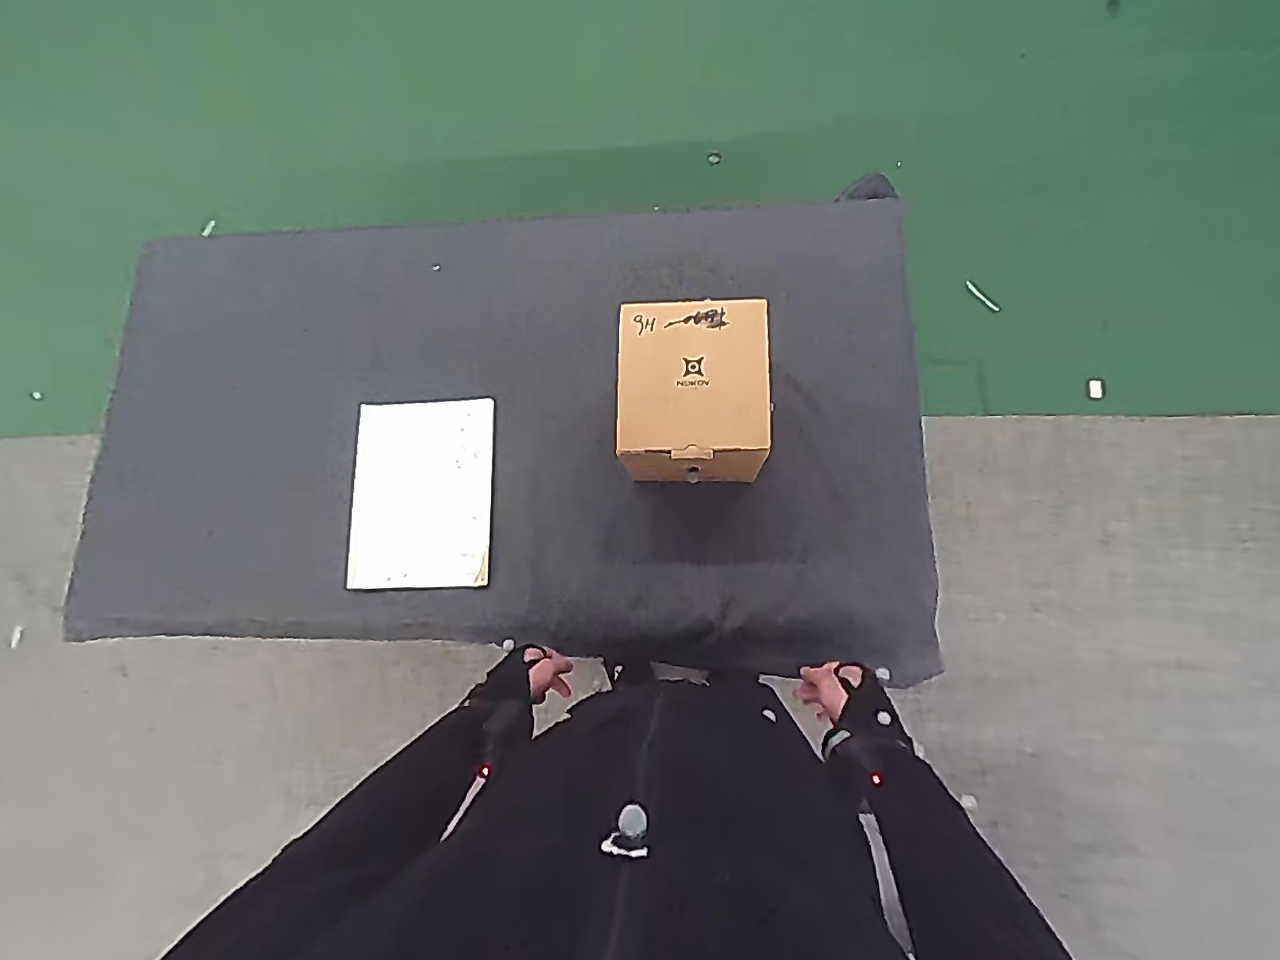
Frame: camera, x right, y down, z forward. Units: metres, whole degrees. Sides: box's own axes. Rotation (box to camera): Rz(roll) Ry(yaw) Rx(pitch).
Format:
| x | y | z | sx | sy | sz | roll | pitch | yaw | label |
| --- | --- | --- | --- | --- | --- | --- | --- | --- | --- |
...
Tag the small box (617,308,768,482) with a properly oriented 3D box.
| x | y | z | sx | sy | sz | roll | pitch | yaw | label |
| --- | --- | --- | --- | --- | --- | --- | --- | --- | --- |
| 0.067 | -0.093 | 0.671 | 0.168 | 0.176 | 0.179 | 0 | 80 | 6 | small box |
